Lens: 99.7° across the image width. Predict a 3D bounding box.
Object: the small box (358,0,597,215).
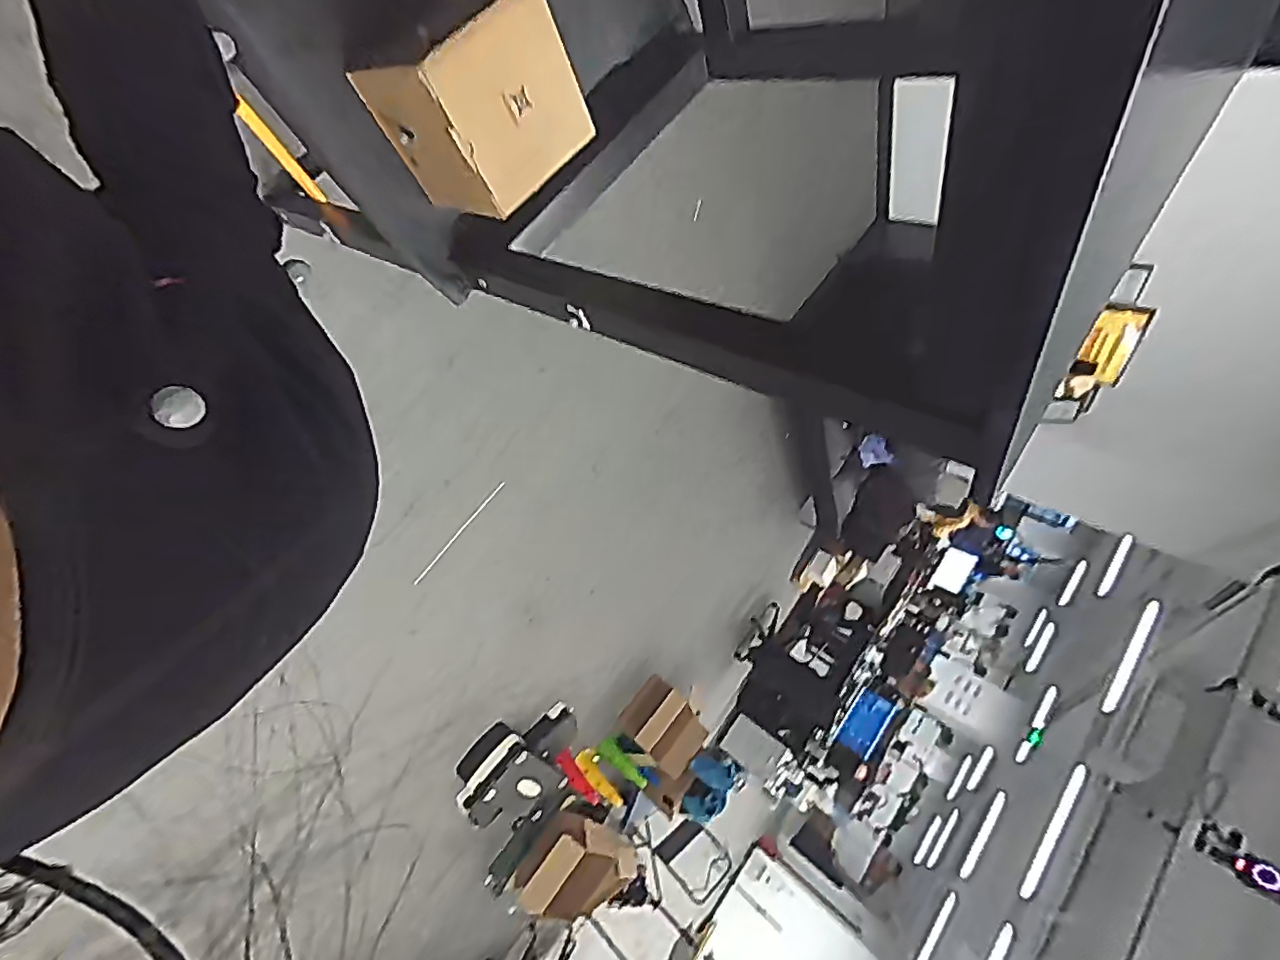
[{"bbox_3d":[-0.188,-0.451,0.640,0.179,0.176,0.168,-51,144,-14],"label":"small box"}]
